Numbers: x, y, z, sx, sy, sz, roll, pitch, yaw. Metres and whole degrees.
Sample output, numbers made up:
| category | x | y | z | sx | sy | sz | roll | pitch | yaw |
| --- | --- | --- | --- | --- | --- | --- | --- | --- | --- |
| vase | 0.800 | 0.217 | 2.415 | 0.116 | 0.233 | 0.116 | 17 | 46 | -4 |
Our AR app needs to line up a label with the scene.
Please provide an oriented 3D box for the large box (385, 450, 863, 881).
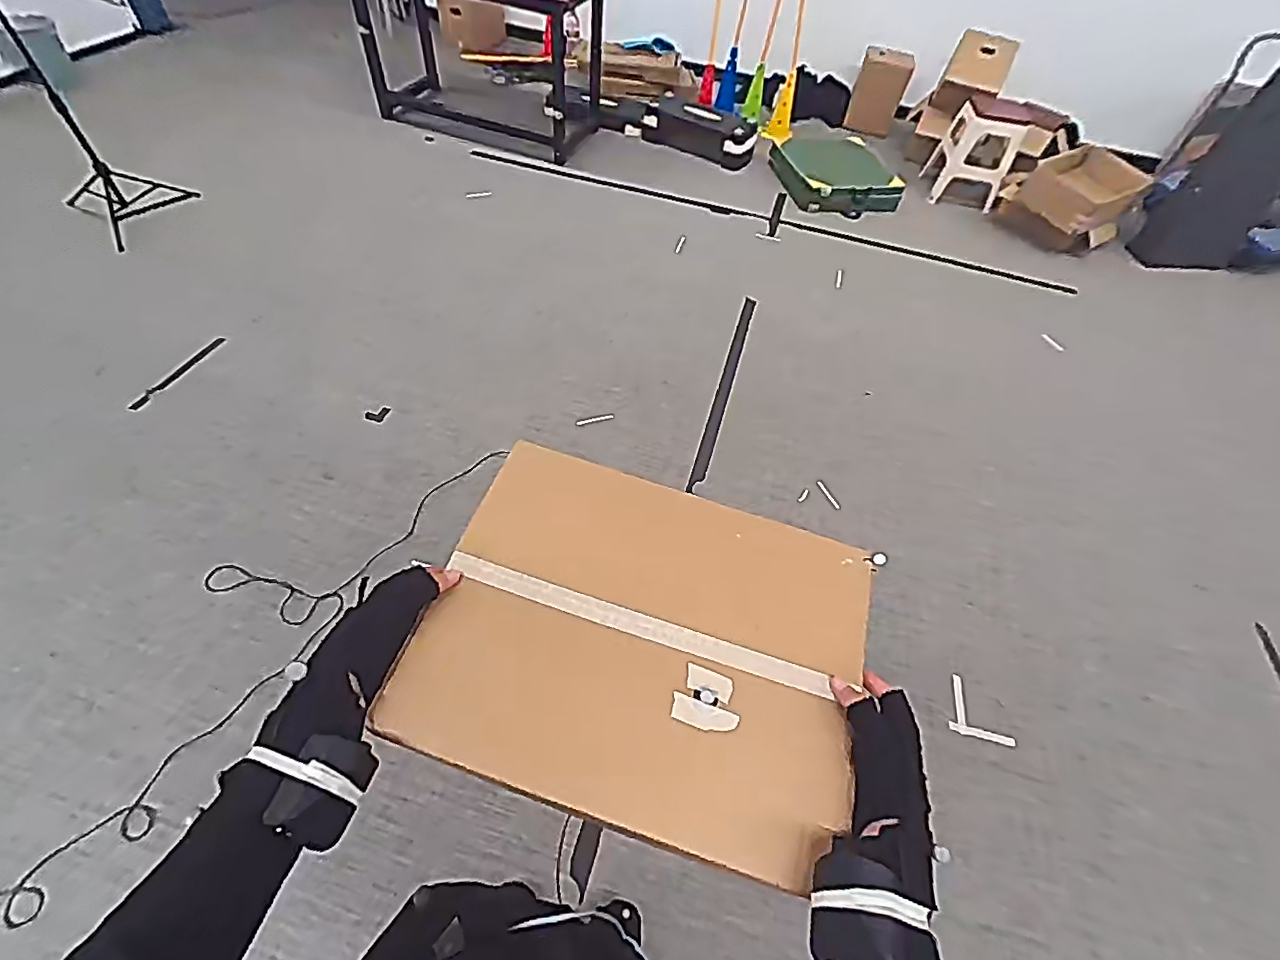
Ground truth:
| category | x | y | z | sx | sy | sz | roll | pitch | yaw |
| --- | --- | --- | --- | --- | --- | --- | --- | --- | --- |
| large box | -0.005 | 0.220 | 0.647 | 0.408 | 0.320 | 0.320 | 18 | 59 | 4 |
